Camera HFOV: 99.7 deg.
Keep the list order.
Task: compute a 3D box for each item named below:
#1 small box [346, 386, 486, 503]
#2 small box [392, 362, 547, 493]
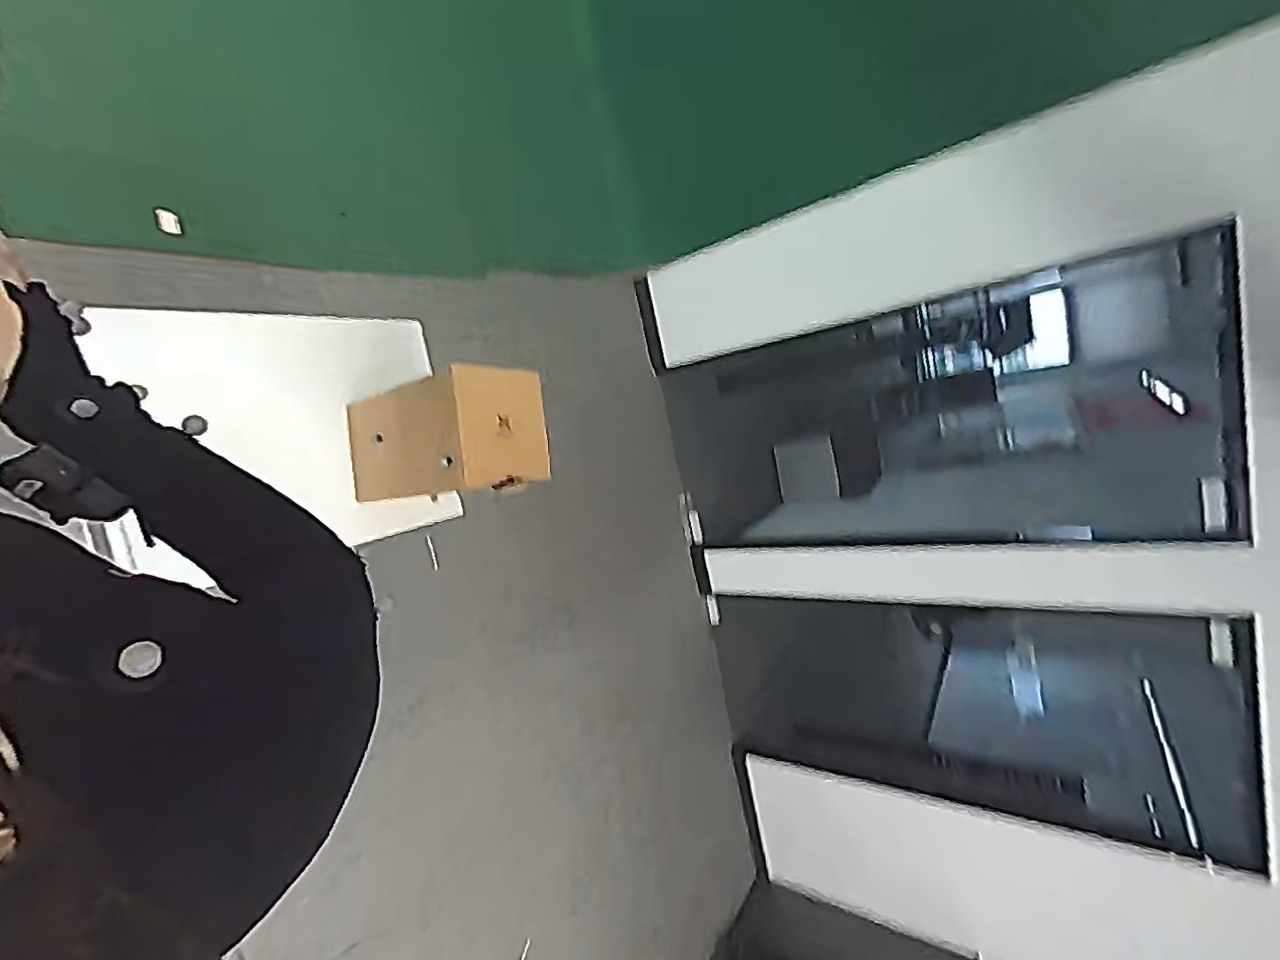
[{"bbox_3d":[-0.399,-0.059,0.961,0.168,0.176,0.179,-6,90,-52],"label":"small box"},{"bbox_3d":[-0.273,-0.077,0.860,0.168,0.176,0.179,-7,92,-53],"label":"small box"}]
